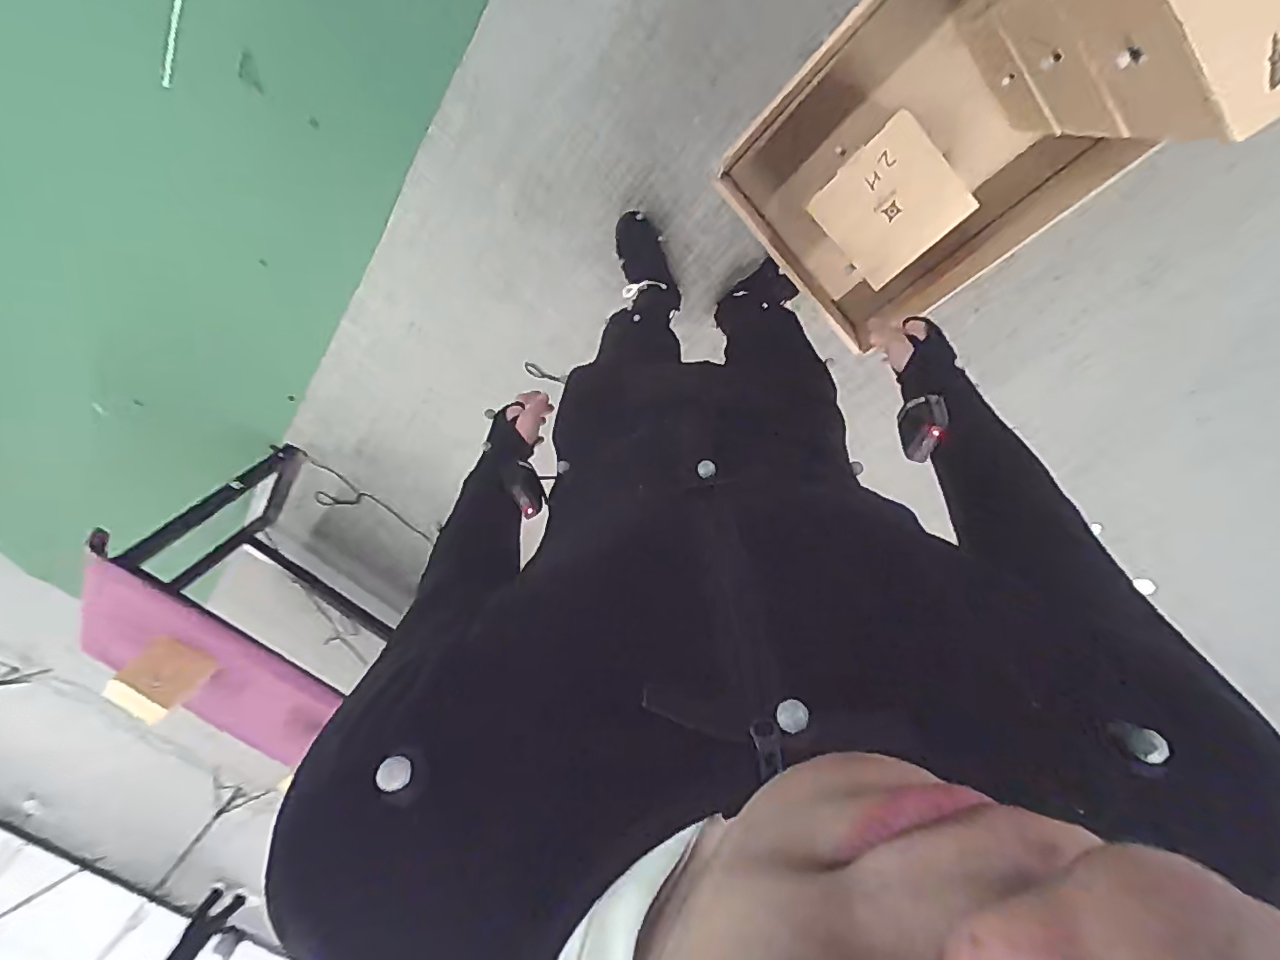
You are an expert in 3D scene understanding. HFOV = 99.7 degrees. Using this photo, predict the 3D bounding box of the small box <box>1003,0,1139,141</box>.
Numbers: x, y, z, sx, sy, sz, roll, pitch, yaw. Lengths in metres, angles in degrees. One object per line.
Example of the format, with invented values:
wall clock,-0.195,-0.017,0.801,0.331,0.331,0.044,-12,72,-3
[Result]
small box,0.527,-0.492,0.570,0.168,0.176,0.179,-35,108,32

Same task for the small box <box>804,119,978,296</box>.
small box,0.378,-0.426,0.843,0.179,0.176,0.168,42,121,-14

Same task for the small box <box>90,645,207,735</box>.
small box,-1.454,0.617,1.607,0.168,0.176,0.179,-37,109,30

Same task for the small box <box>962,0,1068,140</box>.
small box,0.558,-0.579,0.705,0.168,0.176,0.179,-35,109,30

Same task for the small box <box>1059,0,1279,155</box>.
small box,0.494,-0.403,0.436,0.179,0.176,0.168,45,122,-15
